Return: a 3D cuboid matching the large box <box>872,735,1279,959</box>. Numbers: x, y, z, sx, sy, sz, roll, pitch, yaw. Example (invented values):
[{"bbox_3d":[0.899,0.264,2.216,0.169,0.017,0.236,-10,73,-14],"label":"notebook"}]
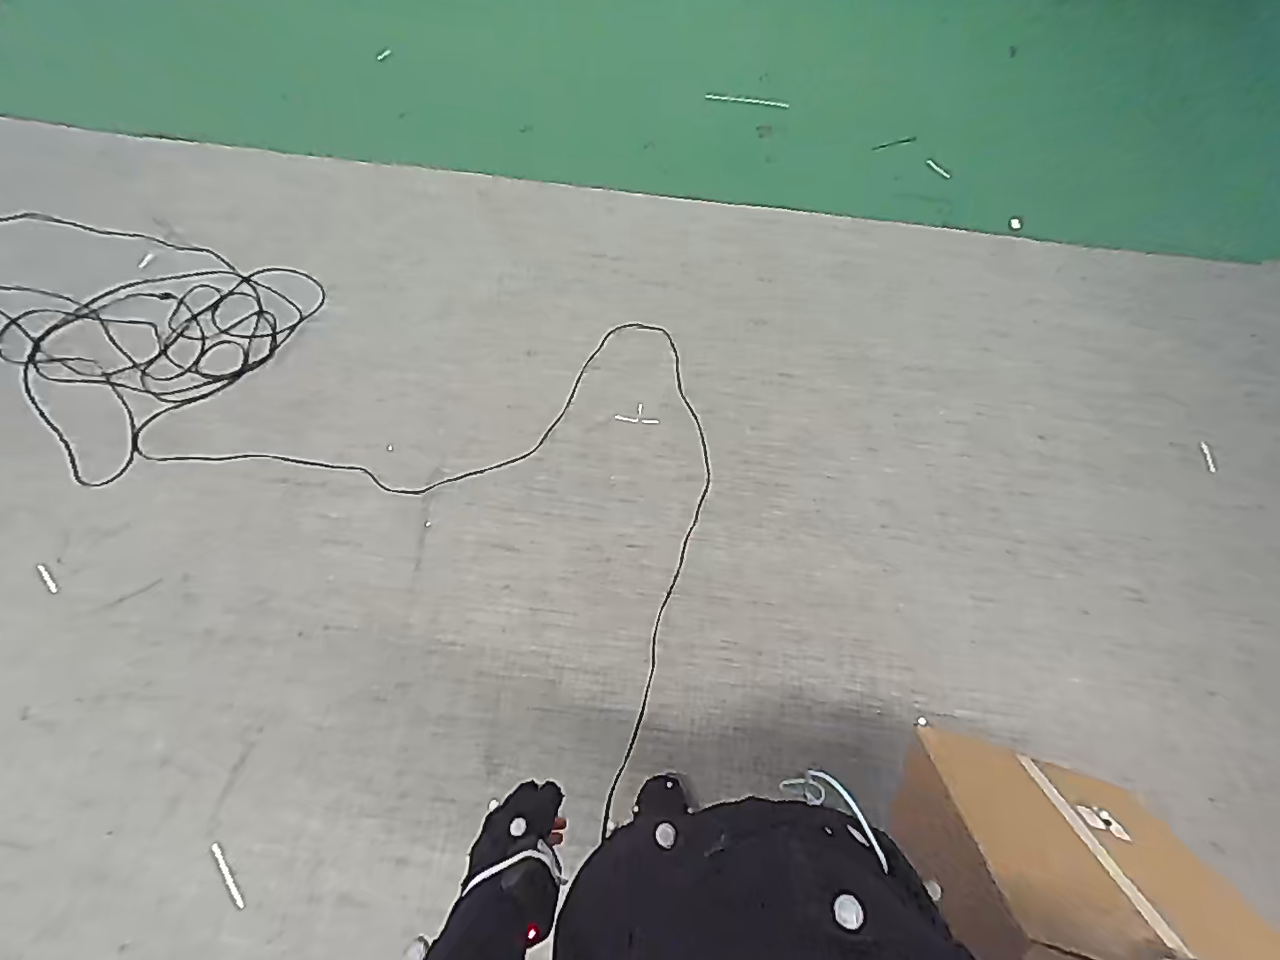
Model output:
[{"bbox_3d":[0.521,0.606,0.677,0.320,0.408,0.320,14,96,12],"label":"large box"}]
